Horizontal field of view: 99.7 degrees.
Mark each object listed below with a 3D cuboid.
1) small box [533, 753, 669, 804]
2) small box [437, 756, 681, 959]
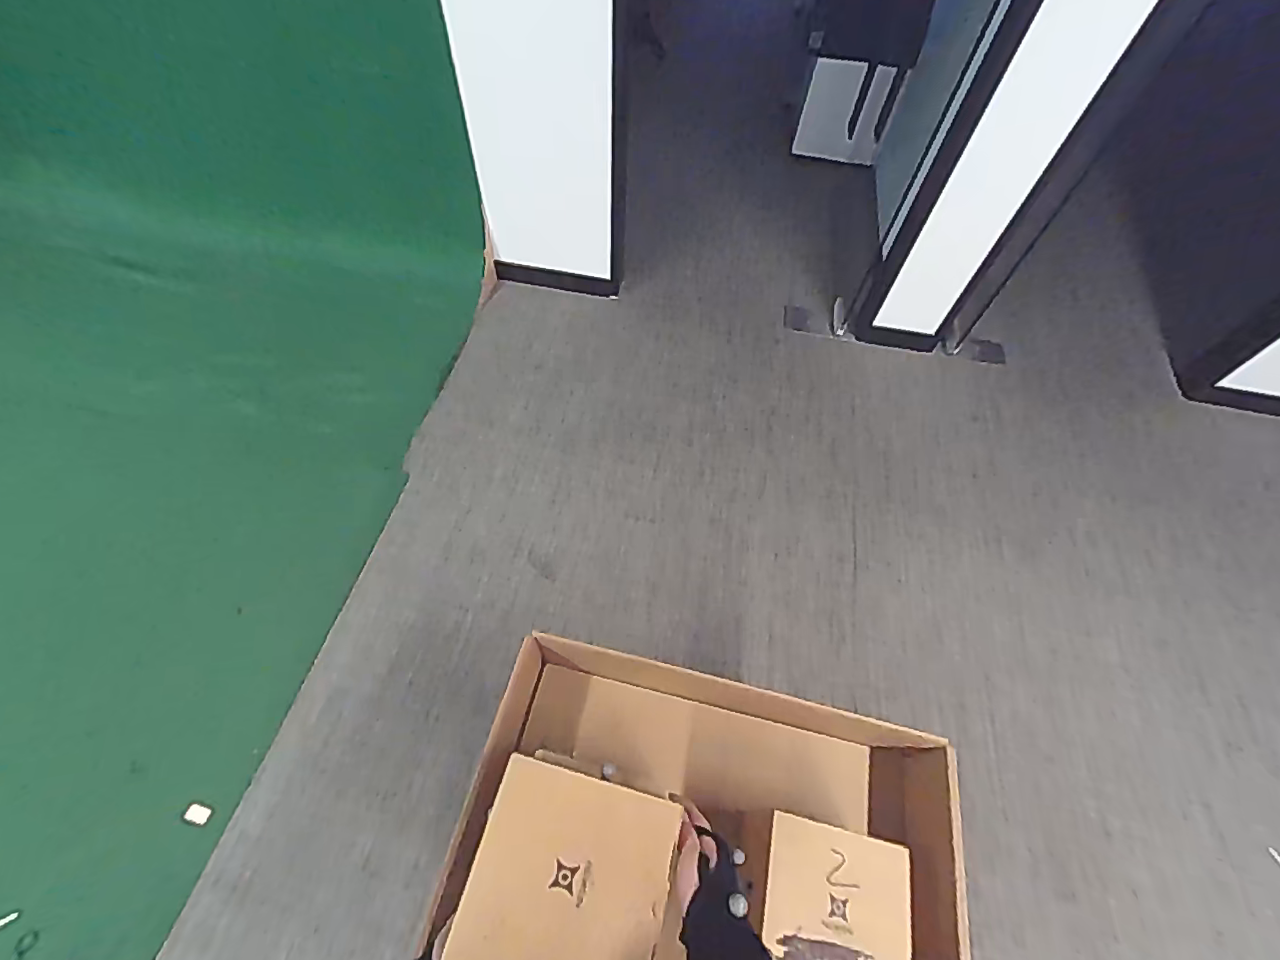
[{"bbox_3d":[-0.073,0.472,0.695,0.179,0.176,0.168,15,58,5],"label":"small box"},{"bbox_3d":[-0.069,0.396,0.545,0.179,0.176,0.168,15,60,4],"label":"small box"}]
